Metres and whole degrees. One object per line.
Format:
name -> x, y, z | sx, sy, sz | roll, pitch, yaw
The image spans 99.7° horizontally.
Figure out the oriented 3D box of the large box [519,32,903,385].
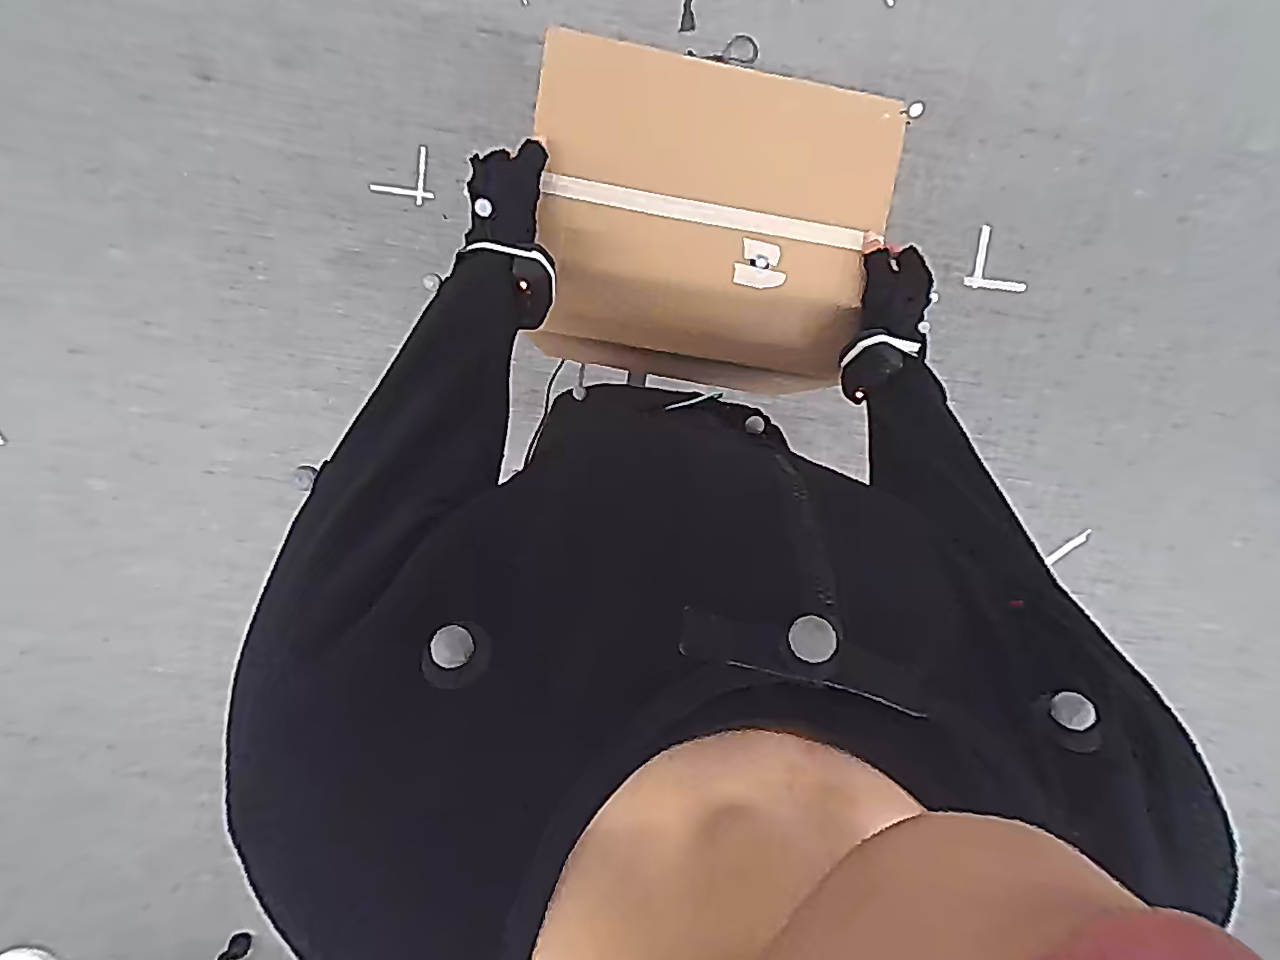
large box -> 0.070, -0.324, 0.760 | 0.408, 0.320, 0.320 | 10, 97, -4
